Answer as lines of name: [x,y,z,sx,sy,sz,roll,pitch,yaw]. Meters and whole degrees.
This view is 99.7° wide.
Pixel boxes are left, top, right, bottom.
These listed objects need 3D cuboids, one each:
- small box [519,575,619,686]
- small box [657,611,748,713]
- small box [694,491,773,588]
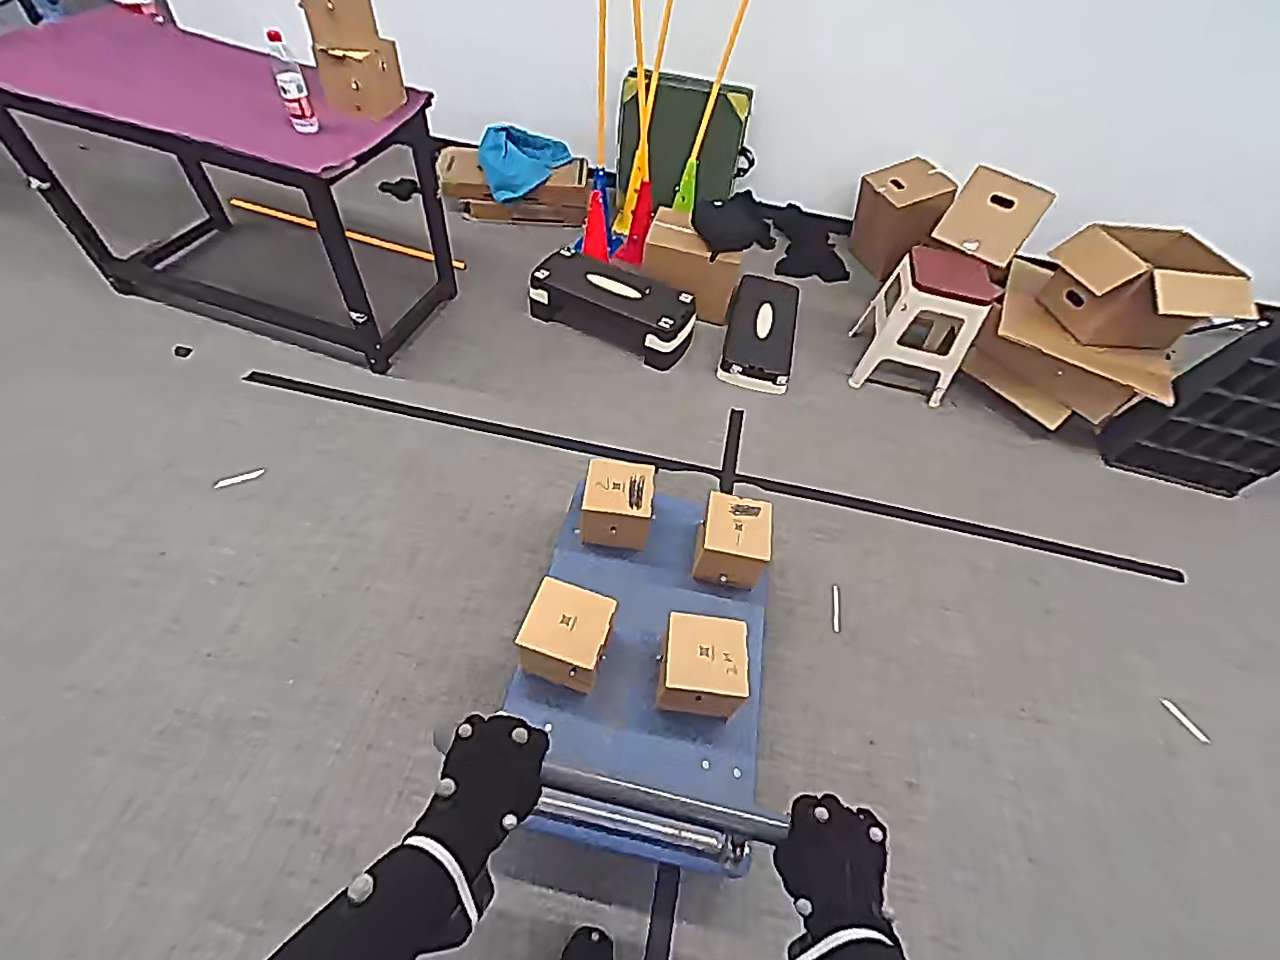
small box: [-0.161,0.348,1.234,0.179,0.176,0.168,18,53,4]
small box: [0.138,0.415,1.225,0.179,0.176,0.168,9,53,-1]
small box: [0.244,0.159,1.431,0.168,0.176,0.179,12,54,1]
